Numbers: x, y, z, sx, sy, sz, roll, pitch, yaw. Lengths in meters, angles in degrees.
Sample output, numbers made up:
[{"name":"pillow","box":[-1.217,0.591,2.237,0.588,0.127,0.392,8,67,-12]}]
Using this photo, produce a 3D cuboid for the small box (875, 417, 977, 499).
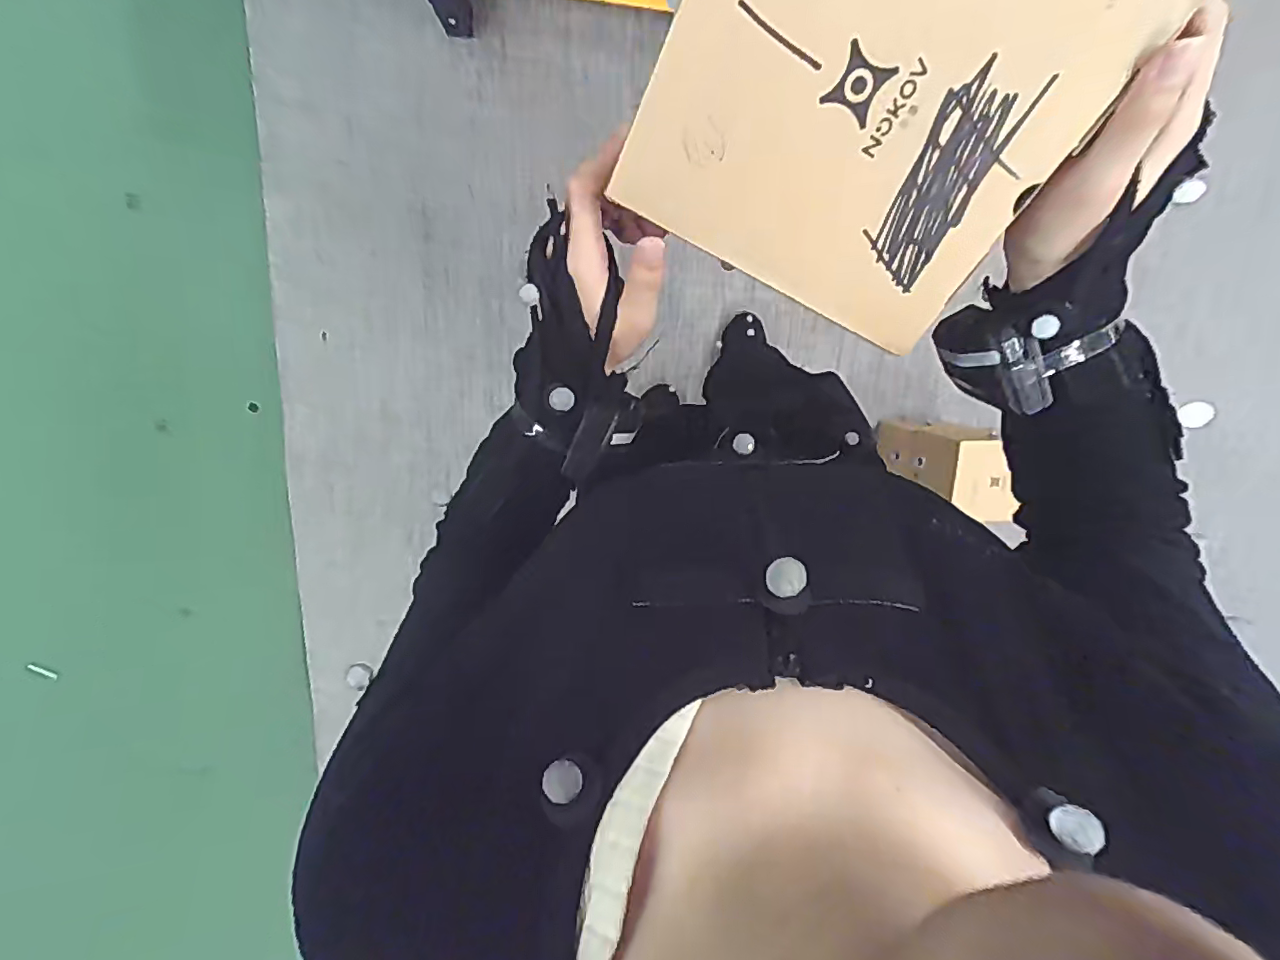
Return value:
[{"name":"small box","box":[0.686,-0.059,1.300,0.168,0.176,0.179,-1,104,-2]}]

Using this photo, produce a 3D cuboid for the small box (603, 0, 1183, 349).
[{"name":"small box","box":[0.101,-0.207,0.294,0.179,0.176,0.168,25,124,-11]}]

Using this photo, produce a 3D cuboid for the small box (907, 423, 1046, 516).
[{"name":"small box","box":[0.698,-0.028,1.139,0.179,0.176,0.168,-1,104,-1]}]
